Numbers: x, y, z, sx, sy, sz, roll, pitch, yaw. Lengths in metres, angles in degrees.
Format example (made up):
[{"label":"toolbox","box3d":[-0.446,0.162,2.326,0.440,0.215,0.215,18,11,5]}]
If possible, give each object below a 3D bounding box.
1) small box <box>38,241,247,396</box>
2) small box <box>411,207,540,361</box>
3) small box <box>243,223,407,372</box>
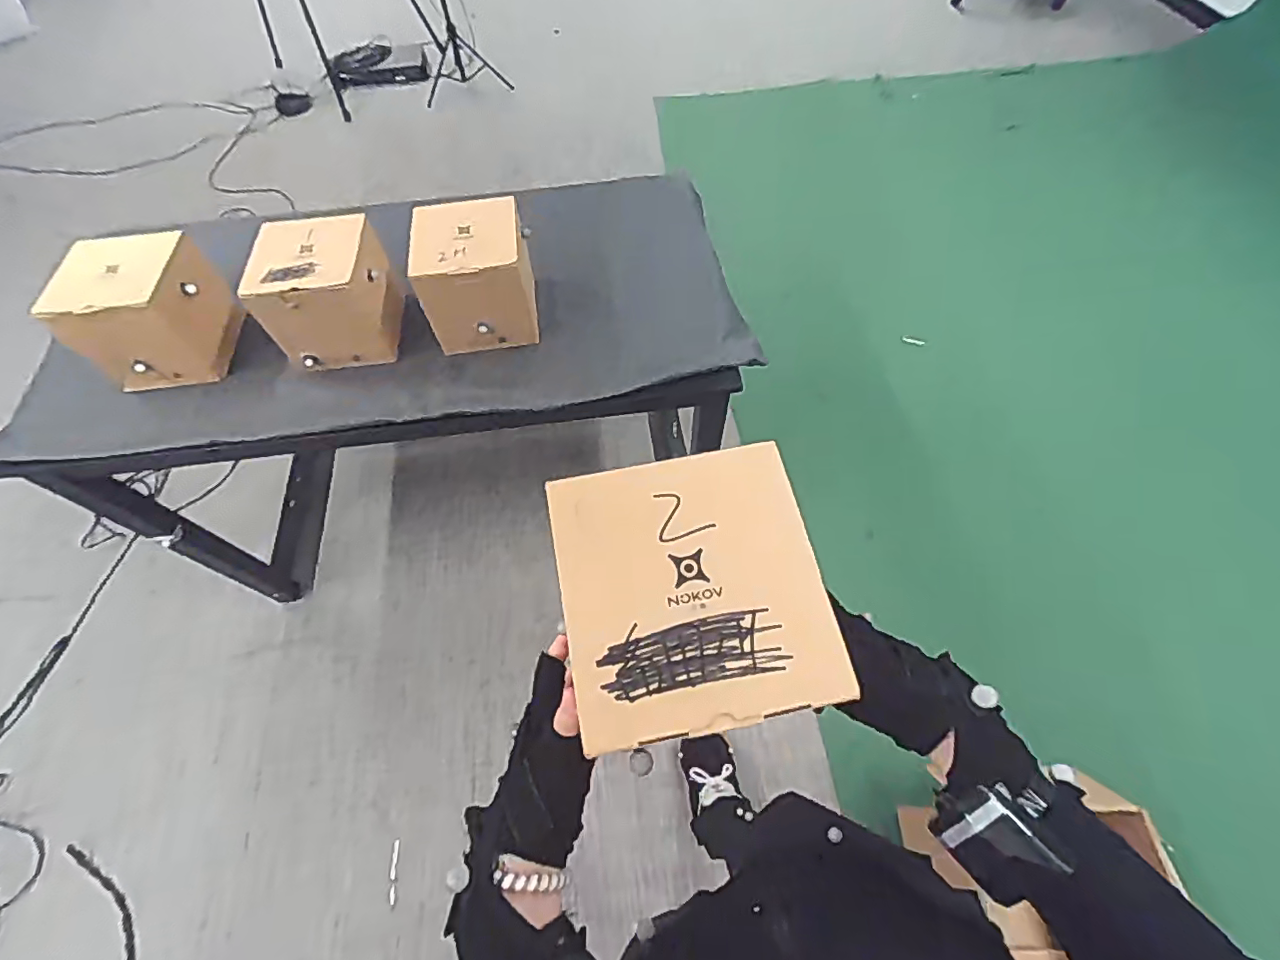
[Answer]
[{"label":"small box","box3d":[-0.795,-0.263,0.892,0.168,0.176,0.179,-7,59,-4]},{"label":"small box","box3d":[-0.268,-0.329,0.917,0.168,0.176,0.179,-8,59,-3]},{"label":"small box","box3d":[-0.509,-0.296,0.904,0.168,0.176,0.179,-6,59,-3]}]
